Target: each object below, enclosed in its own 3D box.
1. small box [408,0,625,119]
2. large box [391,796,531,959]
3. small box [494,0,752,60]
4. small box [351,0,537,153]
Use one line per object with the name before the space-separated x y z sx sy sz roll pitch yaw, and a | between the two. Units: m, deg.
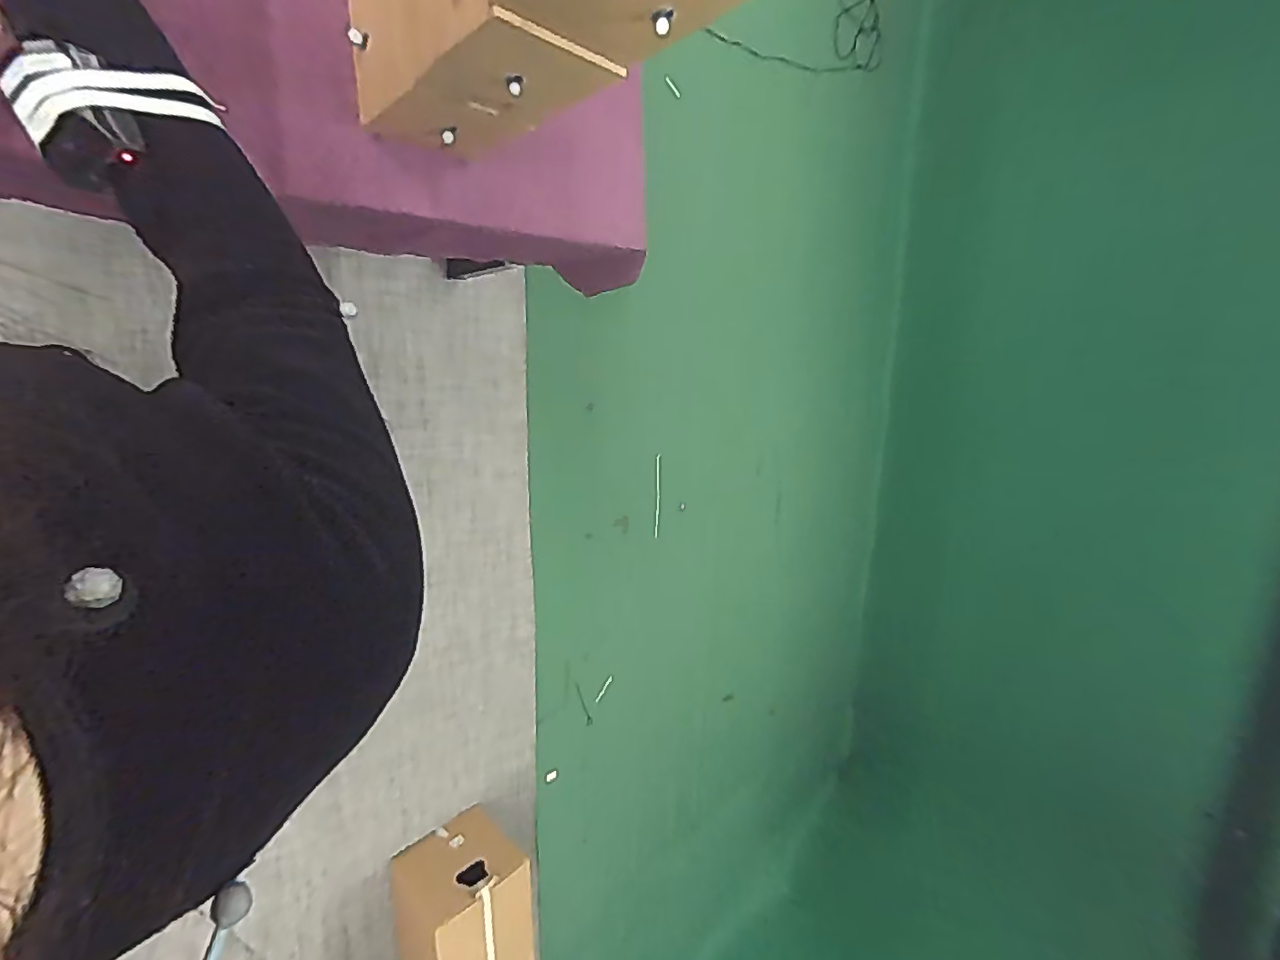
small box | -0.132 -0.518 0.572 0.168 0.176 0.179 -14 108 -44
large box | -0.576 1.352 1.754 0.320 0.320 0.408 -13 110 -45
small box | -0.018 -0.498 0.456 0.179 0.176 0.168 -13 107 -43
small box | -0.248 -0.544 0.686 0.168 0.176 0.179 -13 109 -44
